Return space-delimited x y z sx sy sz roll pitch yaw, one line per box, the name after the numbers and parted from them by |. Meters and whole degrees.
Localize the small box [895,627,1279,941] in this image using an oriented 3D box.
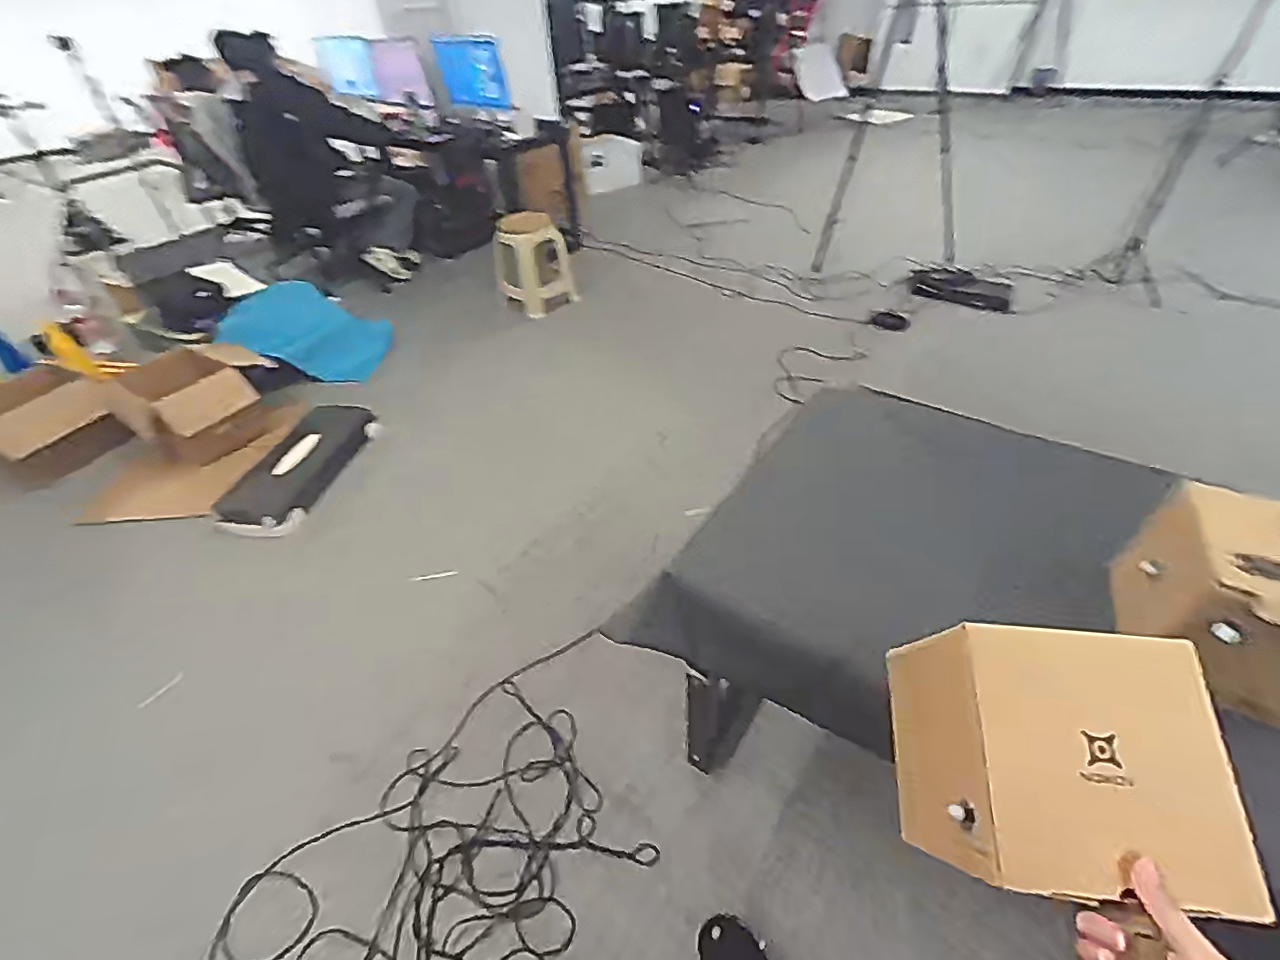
0.326 0.229 0.441 0.168 0.176 0.179 4 66 4 | small box
